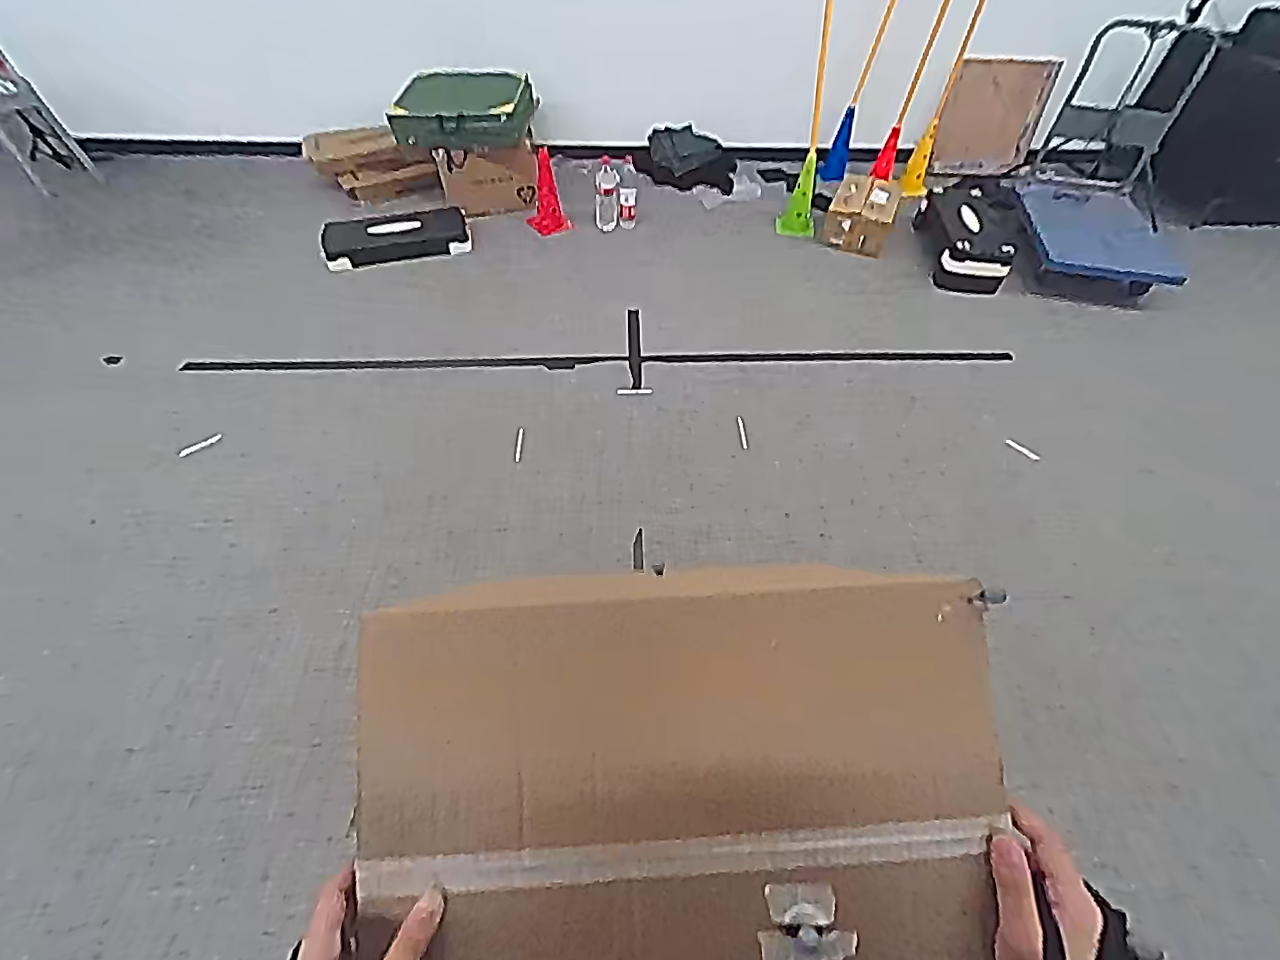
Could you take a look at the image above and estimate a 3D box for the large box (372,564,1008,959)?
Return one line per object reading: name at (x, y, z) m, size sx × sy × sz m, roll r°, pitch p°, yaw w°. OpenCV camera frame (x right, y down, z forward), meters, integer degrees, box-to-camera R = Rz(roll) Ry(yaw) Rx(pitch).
large box at (0.025, 0.249, 0.495) m, size 0.408 × 0.320 × 0.320 m, roll -3°, pitch 85°, yaw -2°
